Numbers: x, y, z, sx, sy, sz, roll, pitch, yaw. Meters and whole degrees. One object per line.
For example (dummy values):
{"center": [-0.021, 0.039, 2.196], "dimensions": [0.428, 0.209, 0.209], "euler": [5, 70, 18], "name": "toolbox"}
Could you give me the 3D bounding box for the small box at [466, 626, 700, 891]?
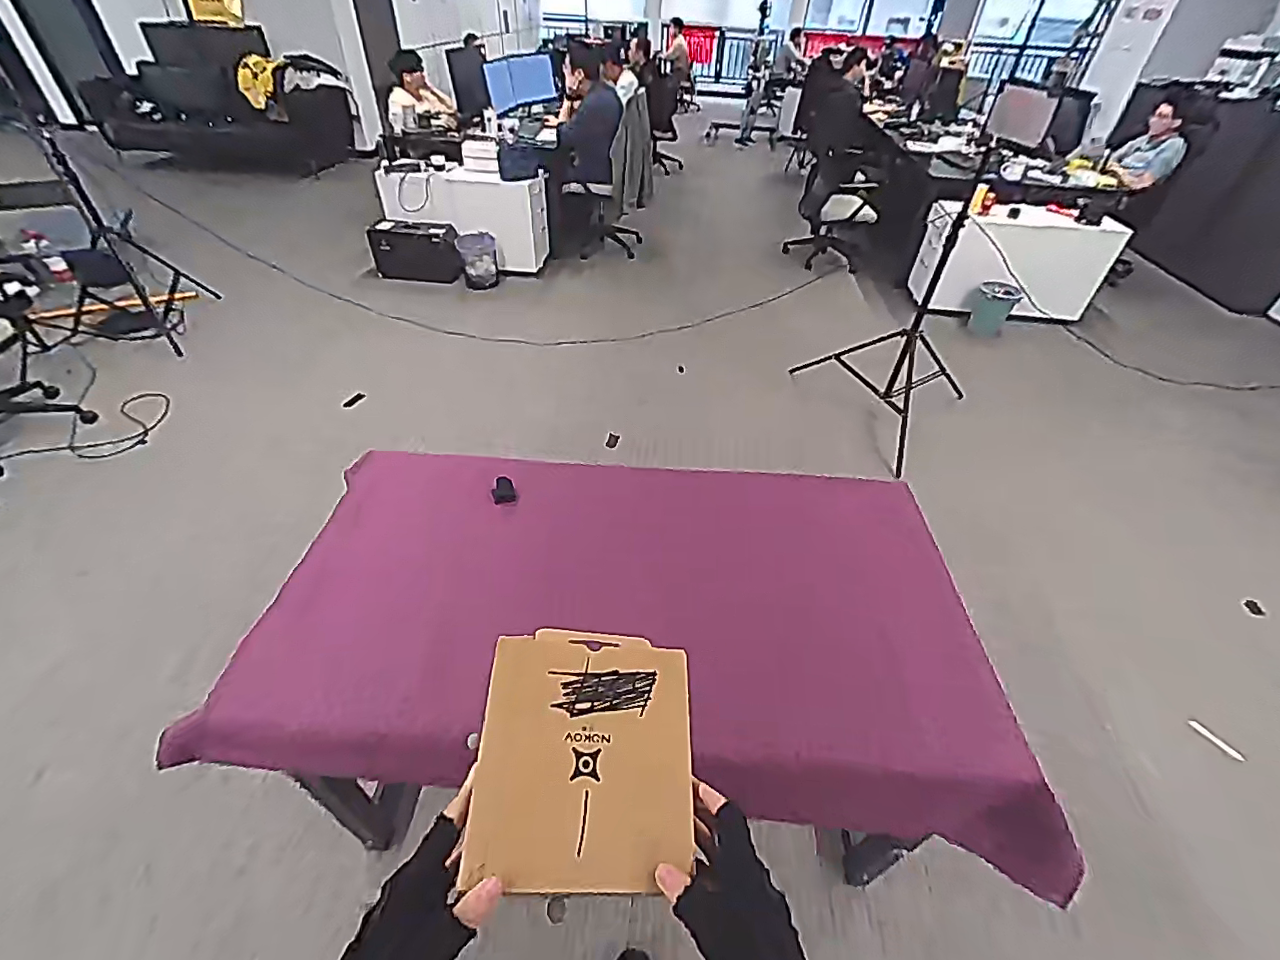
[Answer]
{"center": [-0.053, 0.252, 0.481], "dimensions": [0.168, 0.176, 0.179], "euler": [7, 51, -9], "name": "small box"}
